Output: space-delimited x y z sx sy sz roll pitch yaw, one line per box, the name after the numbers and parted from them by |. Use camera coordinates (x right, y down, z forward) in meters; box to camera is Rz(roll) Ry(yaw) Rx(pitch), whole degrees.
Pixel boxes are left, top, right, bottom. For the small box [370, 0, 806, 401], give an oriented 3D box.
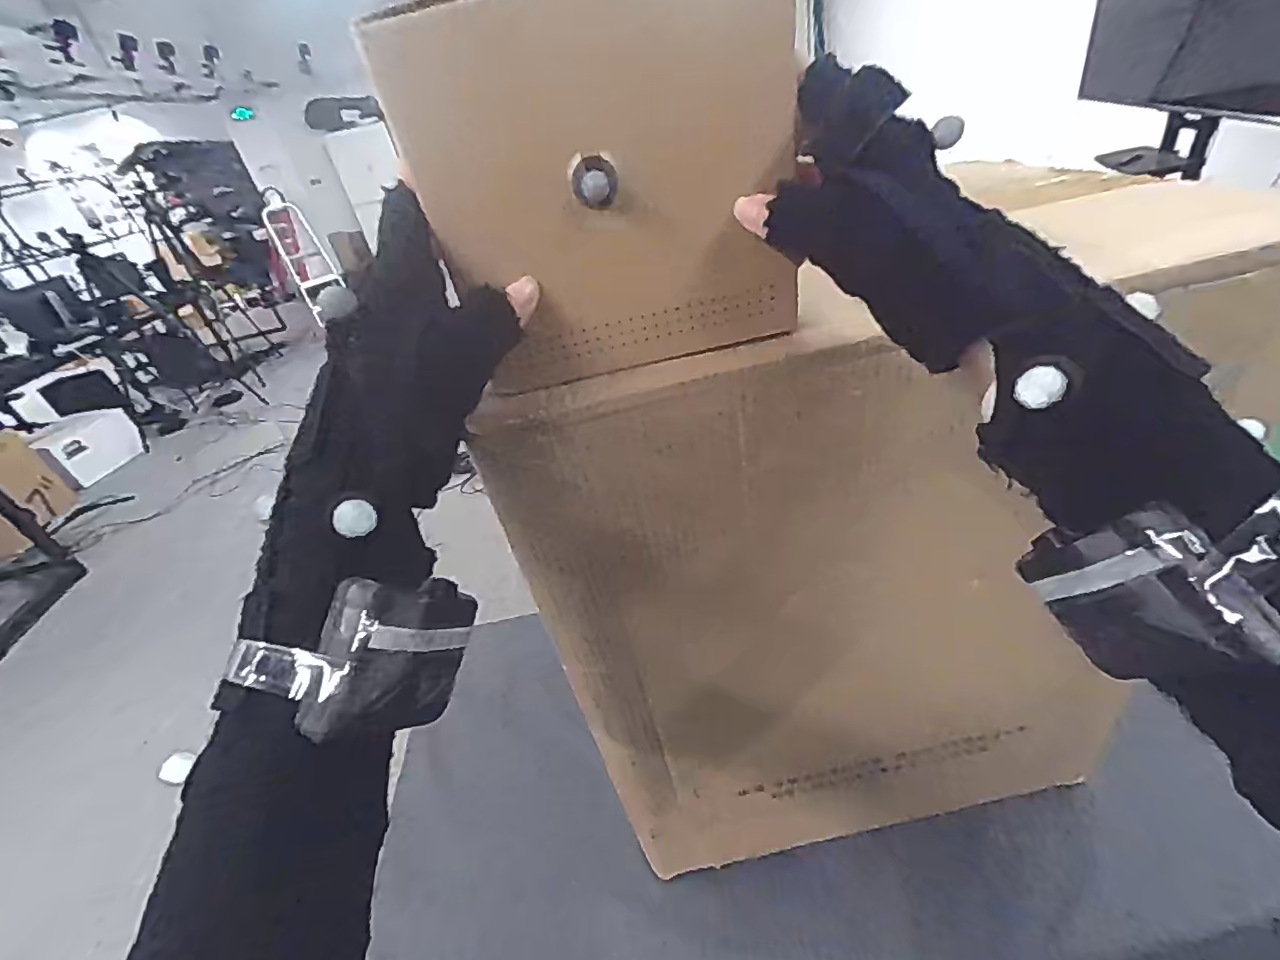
-0.019 -0.169 0.319 0.179 0.176 0.168 -13 38 -2 | small box
